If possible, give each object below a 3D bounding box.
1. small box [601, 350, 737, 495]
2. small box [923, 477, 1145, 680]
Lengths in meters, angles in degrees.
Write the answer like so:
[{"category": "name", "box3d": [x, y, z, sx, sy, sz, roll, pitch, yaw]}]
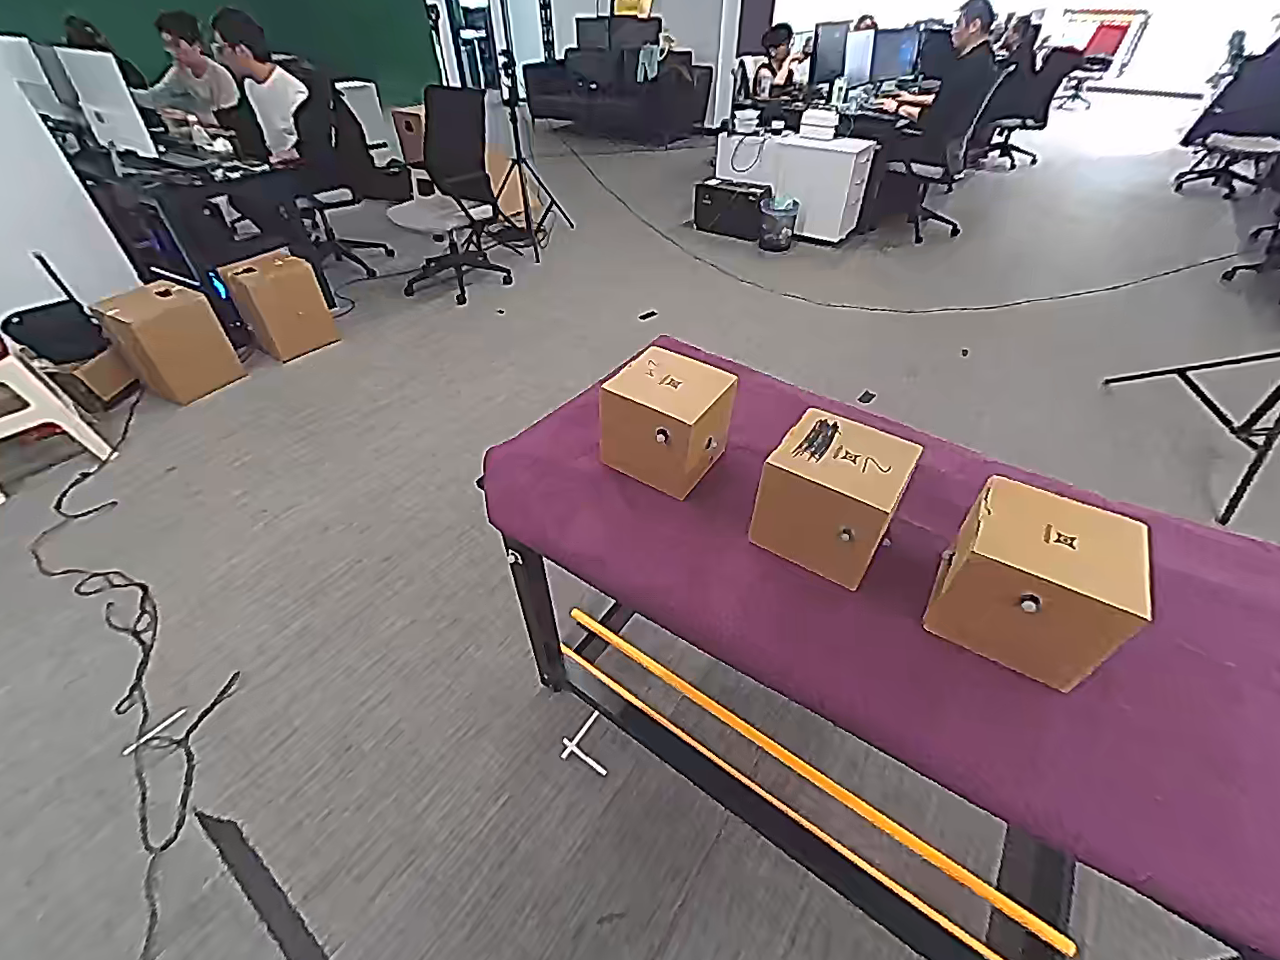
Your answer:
[{"category": "small box", "box3d": [0.048, -0.099, 0.957, 0.179, 0.176, 0.168, 25, 47, 22]}, {"category": "small box", "box3d": [0.505, 0.131, 0.708, 0.179, 0.176, 0.168, 23, 47, 25]}]
